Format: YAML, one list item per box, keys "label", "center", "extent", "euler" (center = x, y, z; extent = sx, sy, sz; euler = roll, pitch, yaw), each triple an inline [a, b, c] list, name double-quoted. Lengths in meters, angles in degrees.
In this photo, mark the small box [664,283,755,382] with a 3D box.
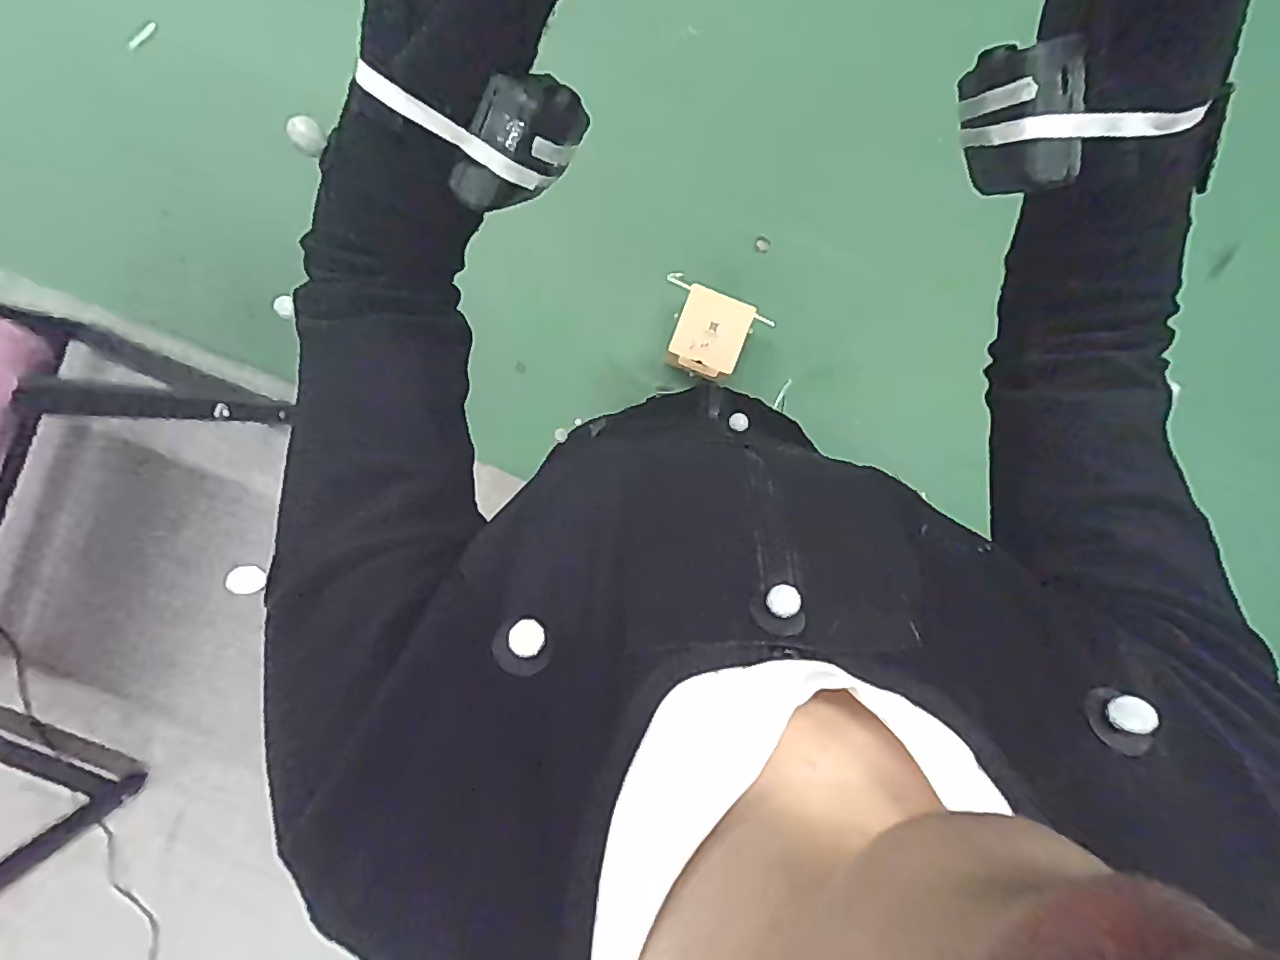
- label: "small box"
  center: [0.167, -0.365, 1.371]
  extent: [0.168, 0.176, 0.179]
  euler: [22, 93, -3]
